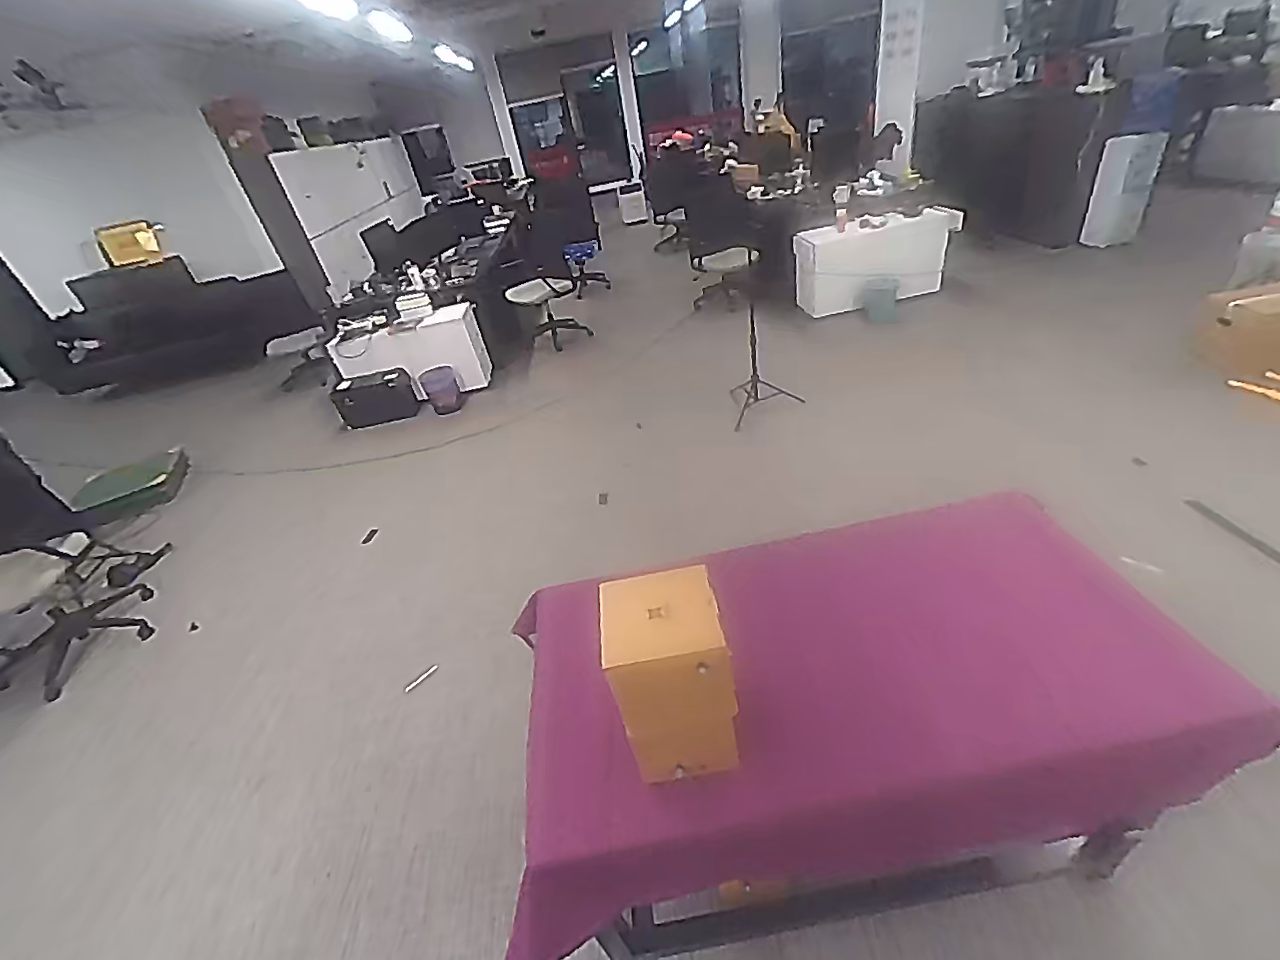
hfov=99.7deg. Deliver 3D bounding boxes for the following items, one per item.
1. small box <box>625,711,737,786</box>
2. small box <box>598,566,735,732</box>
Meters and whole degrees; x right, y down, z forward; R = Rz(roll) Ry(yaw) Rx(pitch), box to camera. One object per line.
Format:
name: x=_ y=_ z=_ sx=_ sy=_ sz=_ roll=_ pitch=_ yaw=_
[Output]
small box: x=0.065 y=0.391 z=0.934 sx=0.168 sy=0.176 sz=0.179 roll=-12 pitch=35 yaw=2
small box: x=0.039 y=0.263 z=0.837 sx=0.179 sy=0.176 sz=0.168 roll=-12 pitch=35 yaw=2
